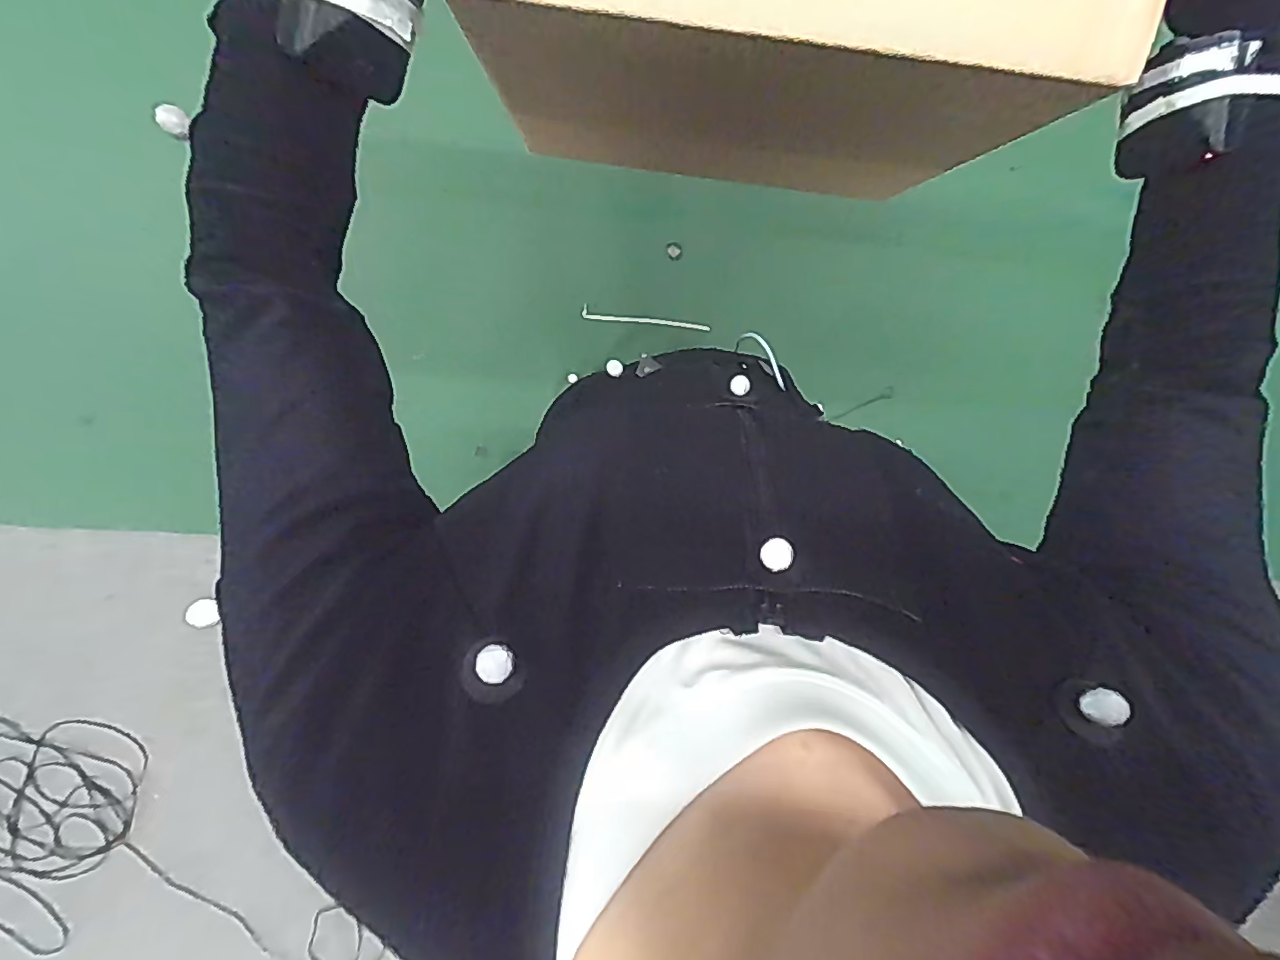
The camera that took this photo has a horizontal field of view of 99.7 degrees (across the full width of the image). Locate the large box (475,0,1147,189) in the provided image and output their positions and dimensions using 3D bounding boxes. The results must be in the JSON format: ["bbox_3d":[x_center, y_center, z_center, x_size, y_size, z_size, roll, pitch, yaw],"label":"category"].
[{"bbox_3d":[0.100,-0.446,0.413,0.408,0.320,0.320,5,106,-5],"label":"large box"}]
